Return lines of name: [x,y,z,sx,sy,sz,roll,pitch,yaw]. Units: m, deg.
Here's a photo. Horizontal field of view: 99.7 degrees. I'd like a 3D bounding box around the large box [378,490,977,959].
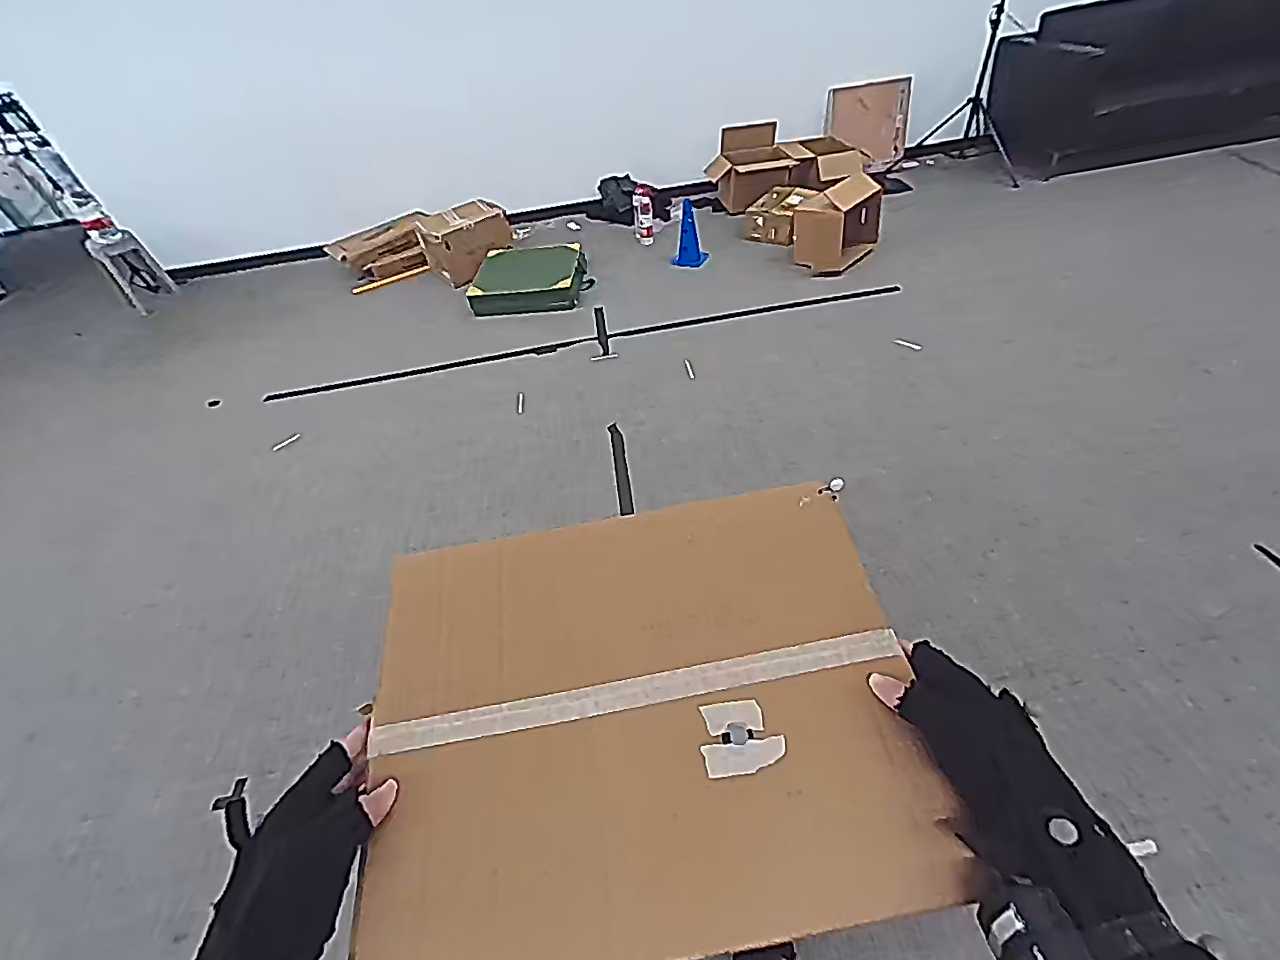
large box: [0.014,0.254,0.551,0.408,0.320,0.320,-10,55,-1]
